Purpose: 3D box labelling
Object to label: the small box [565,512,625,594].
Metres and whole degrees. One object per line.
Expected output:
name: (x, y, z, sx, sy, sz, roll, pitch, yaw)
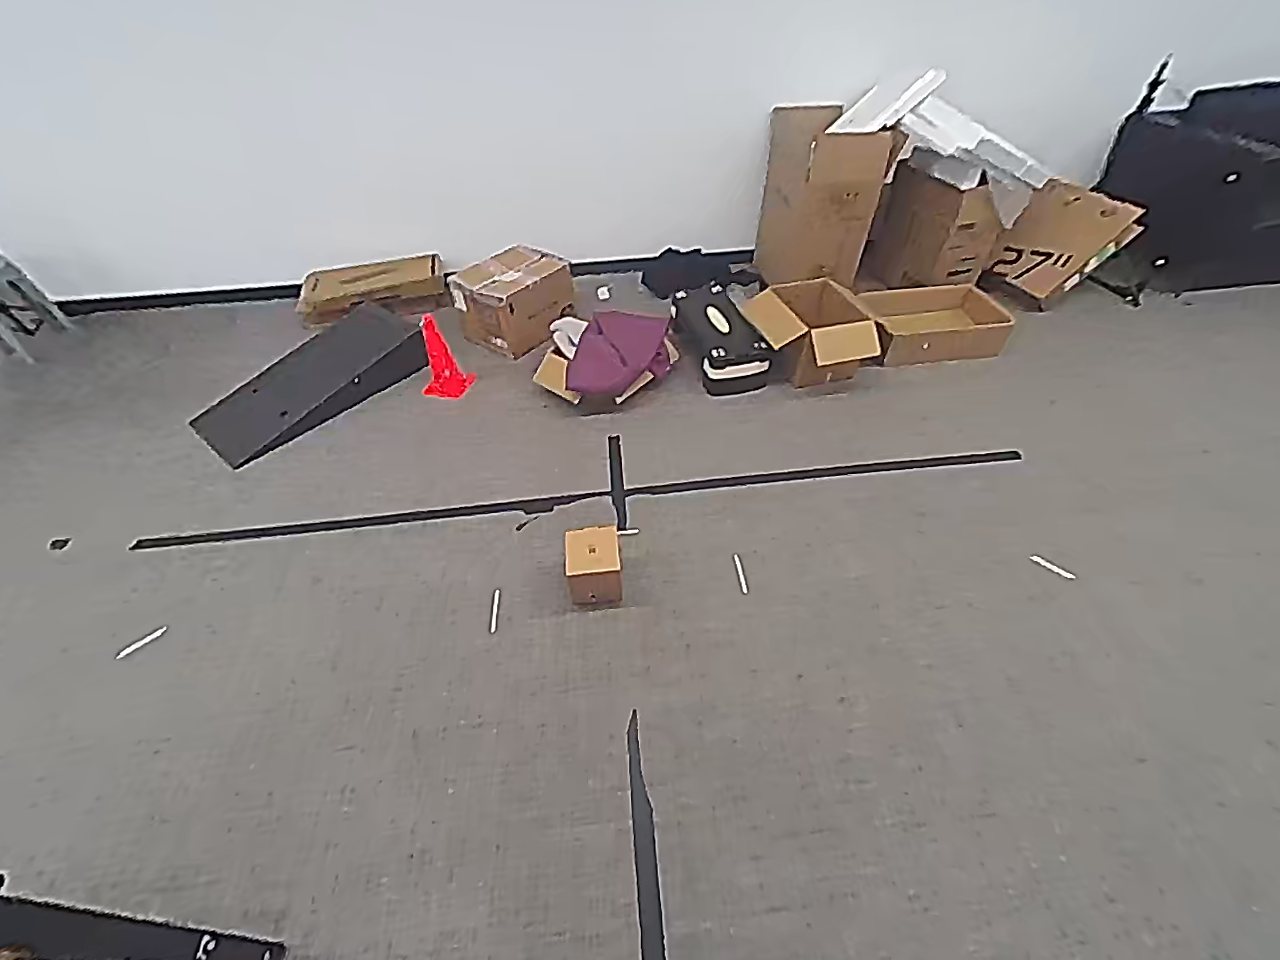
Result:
small box: (-0.138, 0.223, 1.646, 0.168, 0.176, 0.179, -7, 47, -3)
